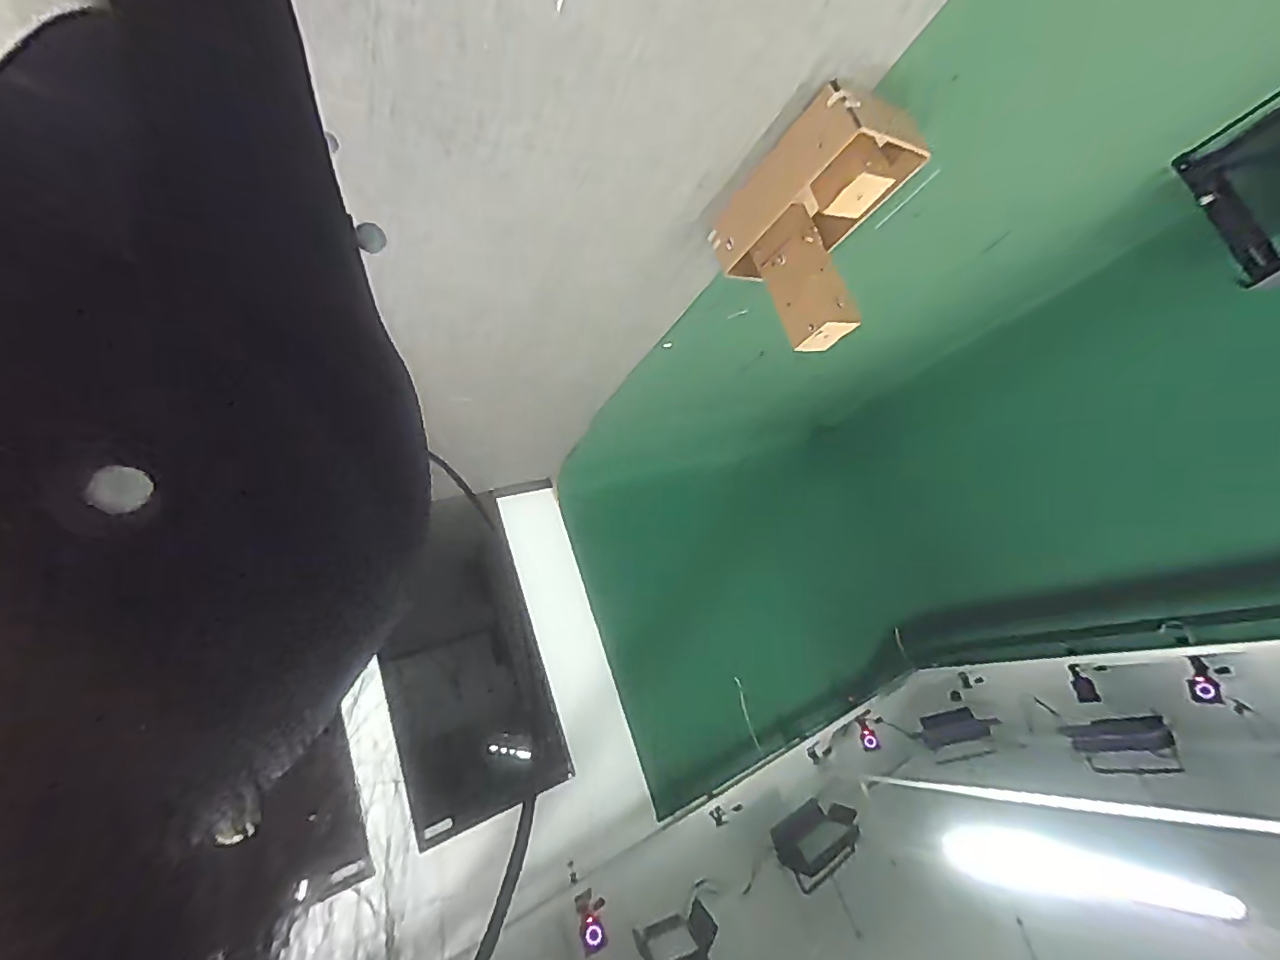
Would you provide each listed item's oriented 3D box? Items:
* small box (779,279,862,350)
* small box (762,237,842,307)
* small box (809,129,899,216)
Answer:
[{"bbox_3d":[0.608,-0.560,1.833,0.179,0.176,0.168,-10,163,-33],"label":"small box"},{"bbox_3d":[0.558,-0.712,1.873,0.179,0.176,0.168,-7,161,-35],"label":"small box"},{"bbox_3d":[0.670,-0.967,1.704,0.179,0.176,0.168,-10,166,-30],"label":"small box"}]
